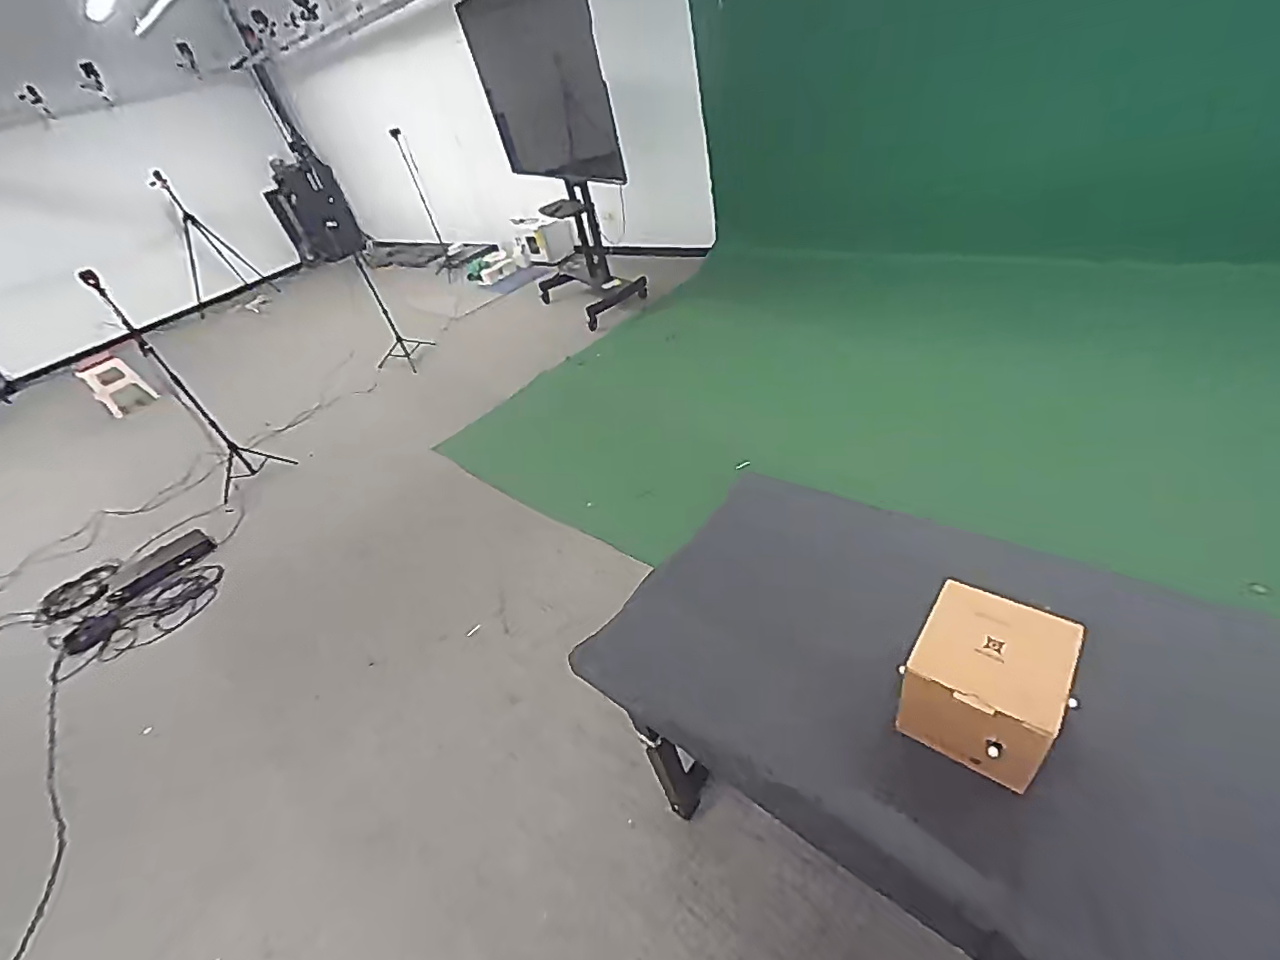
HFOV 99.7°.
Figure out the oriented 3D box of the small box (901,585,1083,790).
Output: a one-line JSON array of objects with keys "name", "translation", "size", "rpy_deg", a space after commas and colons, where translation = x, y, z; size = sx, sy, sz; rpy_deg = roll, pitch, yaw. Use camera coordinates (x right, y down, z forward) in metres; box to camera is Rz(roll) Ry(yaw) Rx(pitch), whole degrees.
[{"name": "small box", "translation": [0.482, 0.289, 0.759], "size": [0.168, 0.176, 0.179], "rpy_deg": [20, 49, 35]}]
